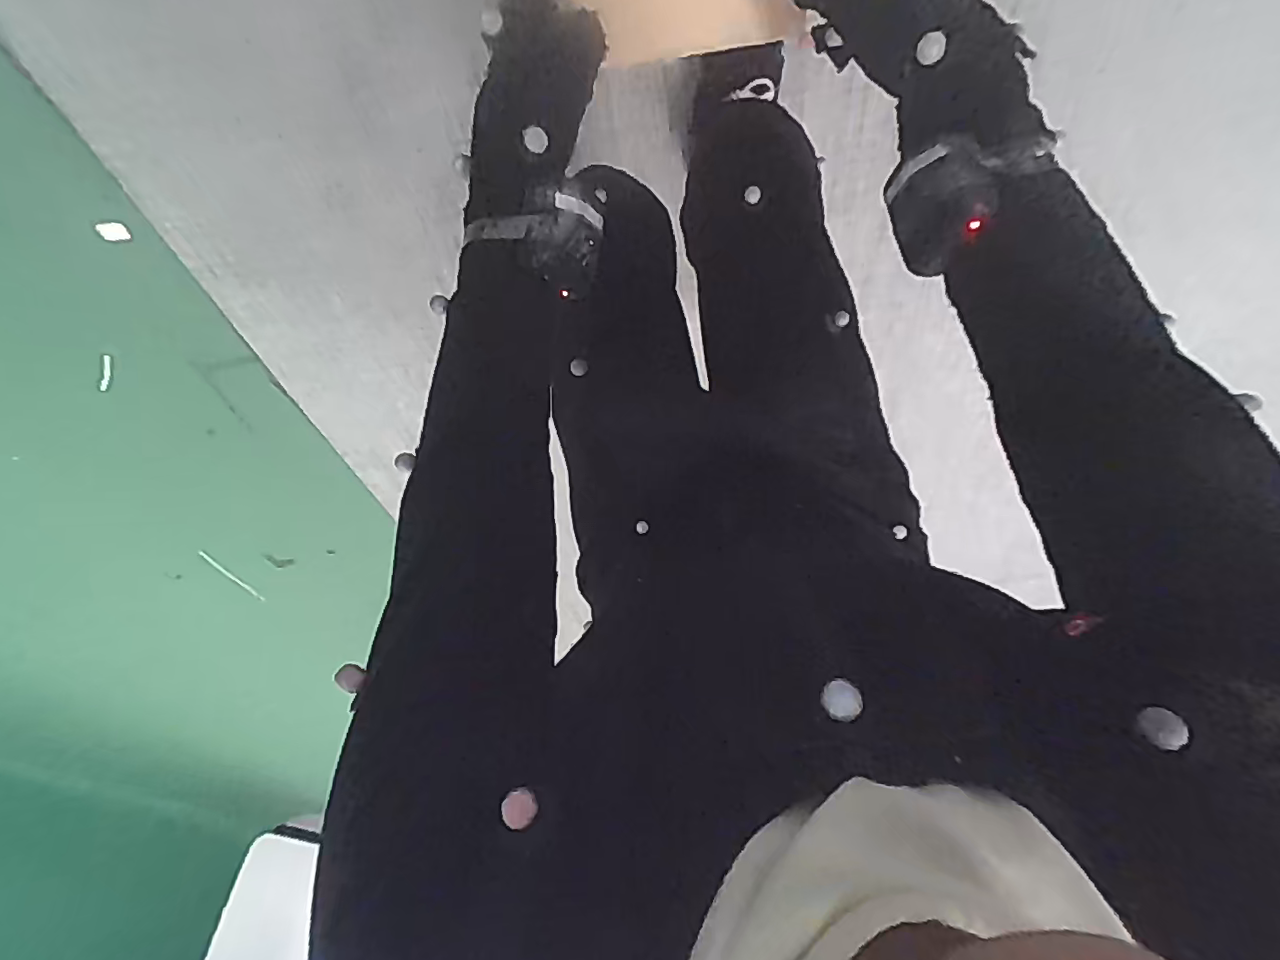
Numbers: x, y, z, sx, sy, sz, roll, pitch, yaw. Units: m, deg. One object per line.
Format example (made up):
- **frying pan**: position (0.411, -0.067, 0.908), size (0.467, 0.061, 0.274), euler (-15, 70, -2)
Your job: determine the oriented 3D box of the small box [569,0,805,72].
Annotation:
- **small box**: position (0.024, -0.441, 0.416), size (0.179, 0.176, 0.168), euler (-8, 135, 2)
